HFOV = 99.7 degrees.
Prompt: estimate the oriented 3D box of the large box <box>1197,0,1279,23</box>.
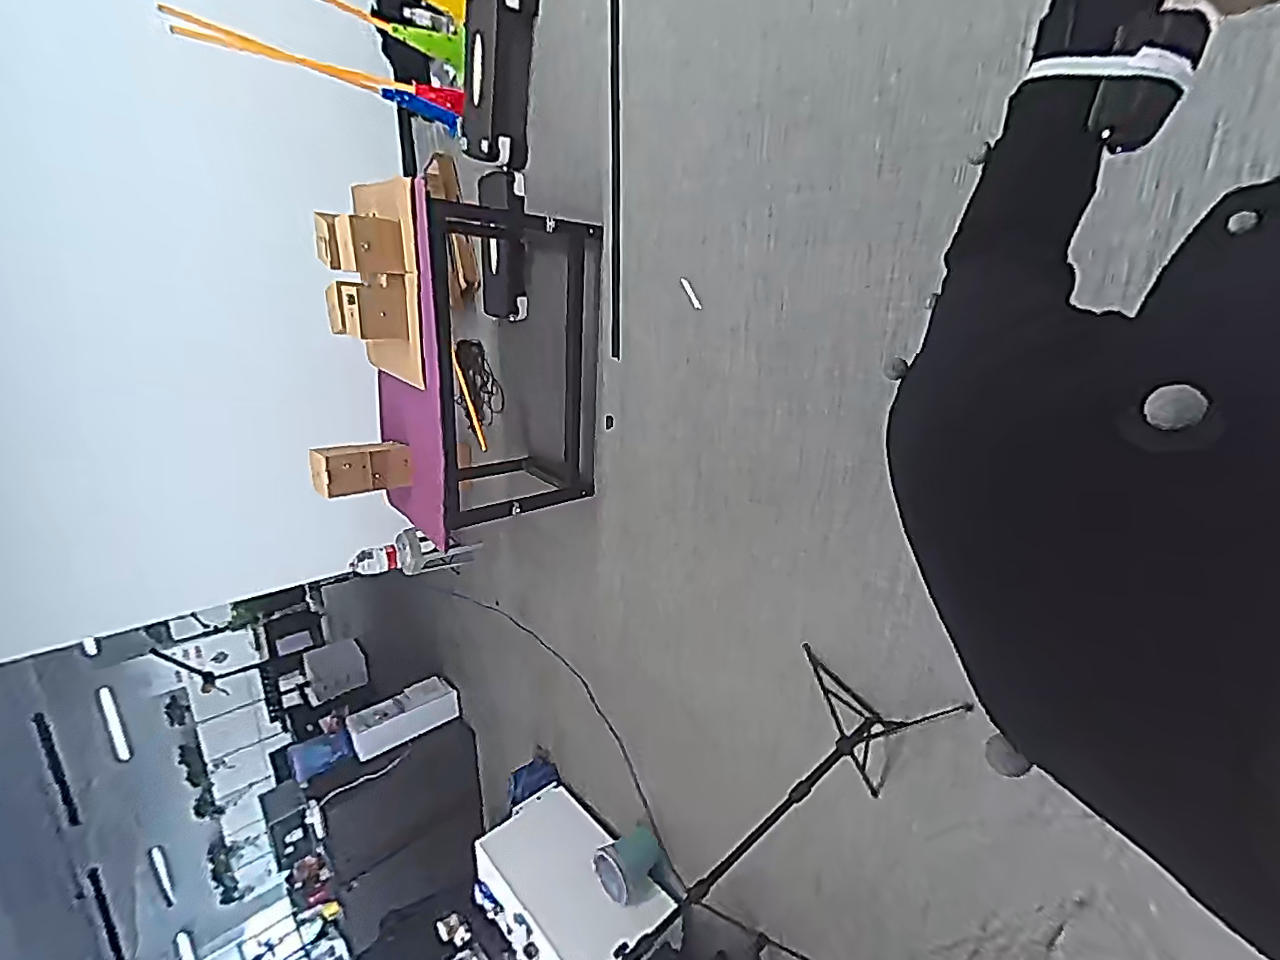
[{"bbox_3d":[0.559,-0.477,0.237,0.408,0.320,0.320,17,127,44],"label":"large box"}]
